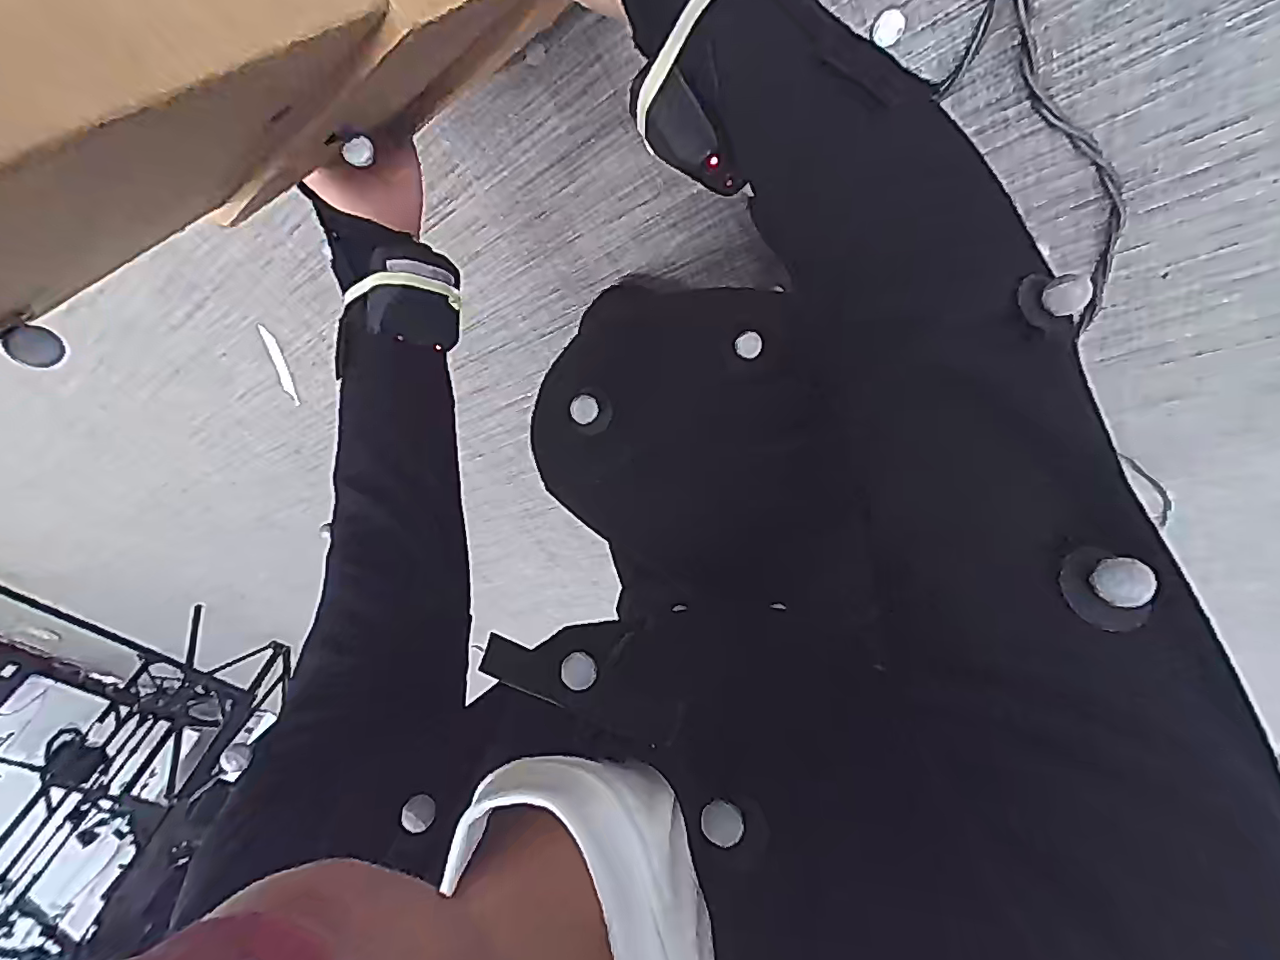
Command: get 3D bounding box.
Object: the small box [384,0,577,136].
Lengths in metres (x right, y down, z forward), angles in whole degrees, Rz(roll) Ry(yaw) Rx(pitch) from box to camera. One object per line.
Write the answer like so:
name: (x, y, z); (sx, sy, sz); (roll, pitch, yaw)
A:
small box: (-0.136, -0.381, 0.355); (0.168, 0.176, 0.179); (-13, 135, 33)

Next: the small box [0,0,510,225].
small box: (-0.177, -0.265, 0.249); (0.179, 0.176, 0.168); (-12, 134, 33)
